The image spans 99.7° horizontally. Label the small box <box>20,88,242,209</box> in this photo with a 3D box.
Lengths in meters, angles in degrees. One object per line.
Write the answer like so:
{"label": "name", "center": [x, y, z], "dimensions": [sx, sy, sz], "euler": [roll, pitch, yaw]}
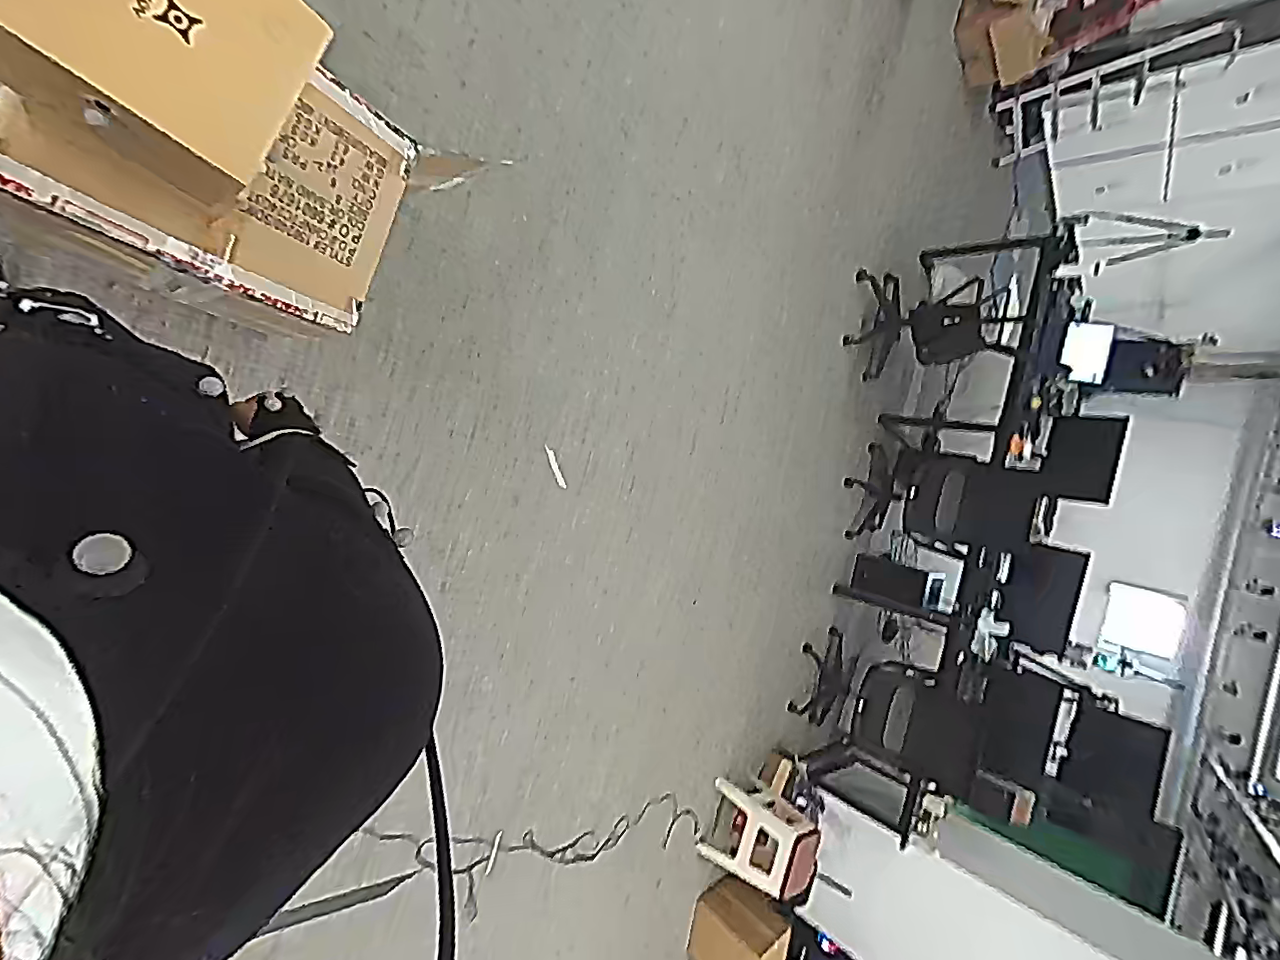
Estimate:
{"label": "small box", "center": [-0.518, -0.421, 0.583], "dimensions": [0.179, 0.176, 0.168], "euler": [23, 85, -47]}

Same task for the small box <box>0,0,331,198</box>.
{"label": "small box", "center": [-0.414, -0.373, 0.467], "dimensions": [0.179, 0.176, 0.168], "euler": [31, 80, -45]}
